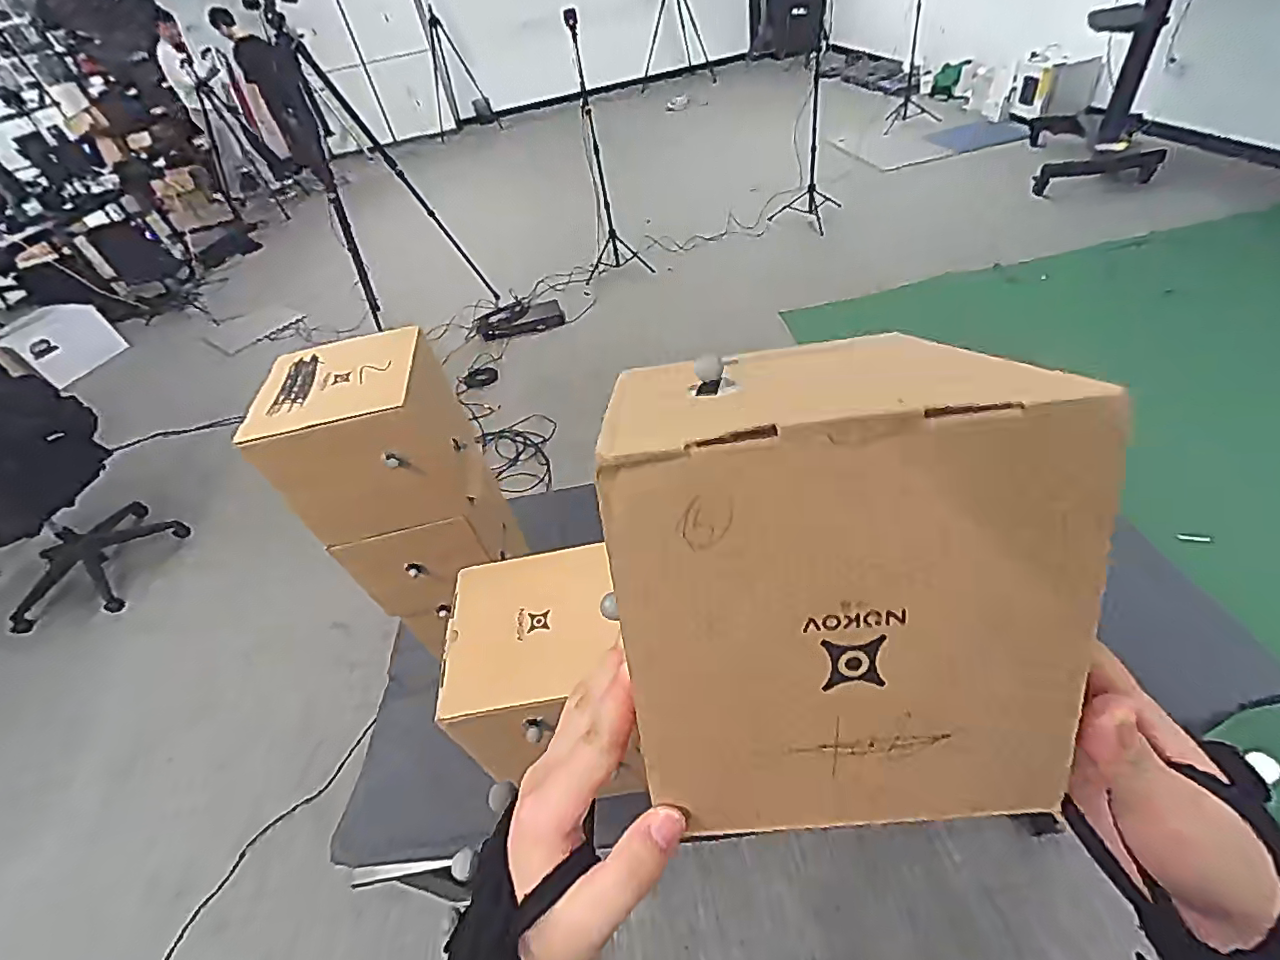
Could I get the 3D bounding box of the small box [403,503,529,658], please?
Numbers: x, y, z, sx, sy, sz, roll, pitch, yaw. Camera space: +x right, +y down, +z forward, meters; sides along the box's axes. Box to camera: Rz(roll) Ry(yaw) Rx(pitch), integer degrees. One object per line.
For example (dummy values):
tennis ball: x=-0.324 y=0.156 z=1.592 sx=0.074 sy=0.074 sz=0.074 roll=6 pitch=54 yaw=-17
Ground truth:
small box: x=-0.275 y=0.170 z=0.889 sx=0.168 sy=0.176 sz=0.179 roll=-14 pitch=44 yaw=-2

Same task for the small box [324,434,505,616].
small box: x=-0.298 y=0.066 z=0.762 sx=0.179 sy=0.176 sz=0.168 roll=-14 pitch=45 yaw=-1

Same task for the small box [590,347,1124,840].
small box: x=0.074 y=0.035 z=0.269 sx=0.168 sy=0.179 sz=0.176 roll=-6 pitch=22 yaw=5

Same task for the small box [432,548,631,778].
small box: x=-0.093 y=0.198 z=0.581 sx=0.179 sy=0.176 sz=0.168 roll=-11 pitch=44 yaw=3

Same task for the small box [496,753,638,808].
small box: x=-0.075 y=0.305 z=0.704 sx=0.179 sy=0.176 sz=0.168 roll=-10 pitch=44 yaw=3
